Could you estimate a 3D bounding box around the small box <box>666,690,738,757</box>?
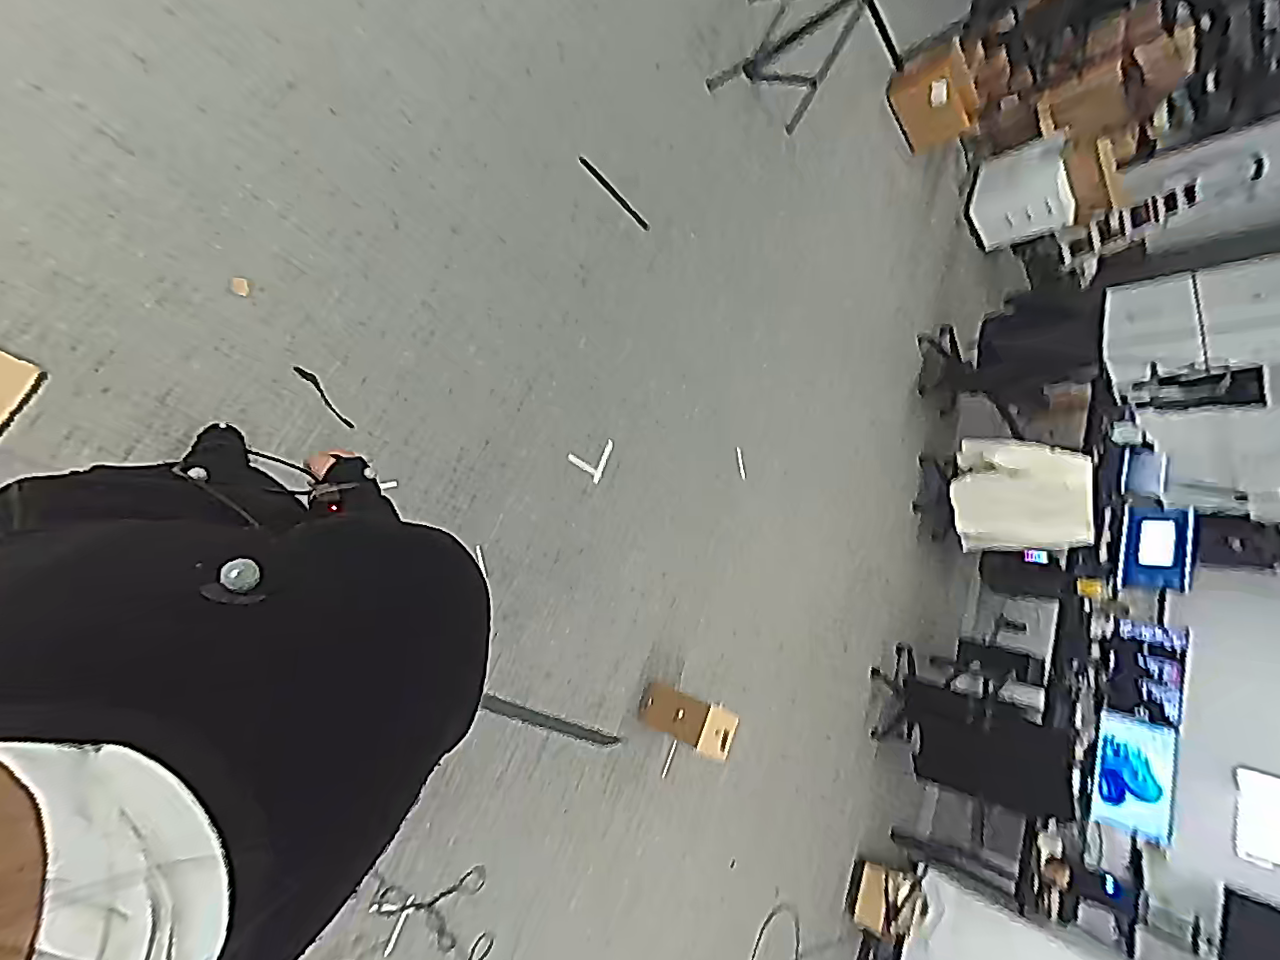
[{"bbox_3d":[0.231,0.905,2.022,0.179,0.176,0.168,36,67,-33],"label":"small box"}]
